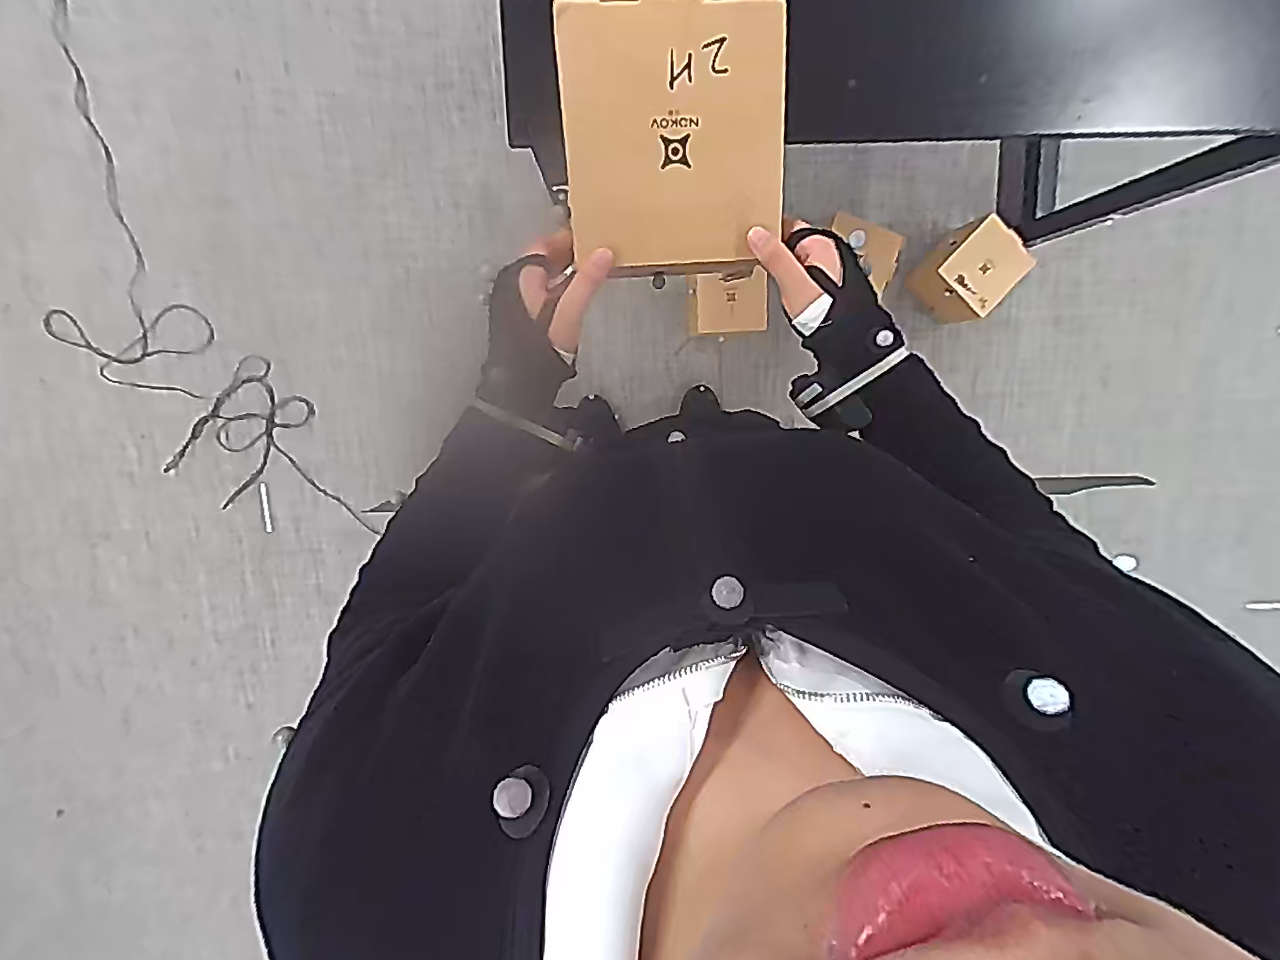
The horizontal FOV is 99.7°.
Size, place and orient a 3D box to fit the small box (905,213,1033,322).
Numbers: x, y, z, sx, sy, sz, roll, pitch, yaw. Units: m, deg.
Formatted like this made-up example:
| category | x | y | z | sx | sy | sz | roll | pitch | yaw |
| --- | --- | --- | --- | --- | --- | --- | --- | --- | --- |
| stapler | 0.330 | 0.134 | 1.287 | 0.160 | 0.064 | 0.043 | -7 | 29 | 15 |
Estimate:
| category | x | y | z | sx | sy | sz | roll | pitch | yaw |
| --- | --- | --- | --- | --- | --- | --- | --- | --- | --- |
| small box | 0.805 | -0.517 | 1.343 | 0.168 | 0.176 | 0.179 | 41 | 97 | -7 |

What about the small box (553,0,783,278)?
| category | x | y | z | sx | sy | sz | roll | pitch | yaw |
| --- | --- | --- | --- | --- | --- | --- | --- | --- | --- |
| small box | 0.018 | -0.276 | 0.479 | 0.168 | 0.176 | 0.179 | -5 | 107 | -4 |

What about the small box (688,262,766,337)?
| category | x | y | z | sx | sy | sz | roll | pitch | yaw |
| --- | --- | --- | --- | --- | --- | --- | --- | --- | --- |
| small box | 0.211 | -0.452 | 1.342 | 0.168 | 0.176 | 0.179 | -3 | 102 | -1 |

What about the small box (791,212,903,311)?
| category | x | y | z | sx | sy | sz | roll | pitch | yaw |
| --- | --- | --- | --- | --- | --- | --- | --- | --- | --- |
| small box | 0.502 | -0.529 | 1.336 | 0.179 | 0.176 | 0.168 | 19 | 99 | -4 |
